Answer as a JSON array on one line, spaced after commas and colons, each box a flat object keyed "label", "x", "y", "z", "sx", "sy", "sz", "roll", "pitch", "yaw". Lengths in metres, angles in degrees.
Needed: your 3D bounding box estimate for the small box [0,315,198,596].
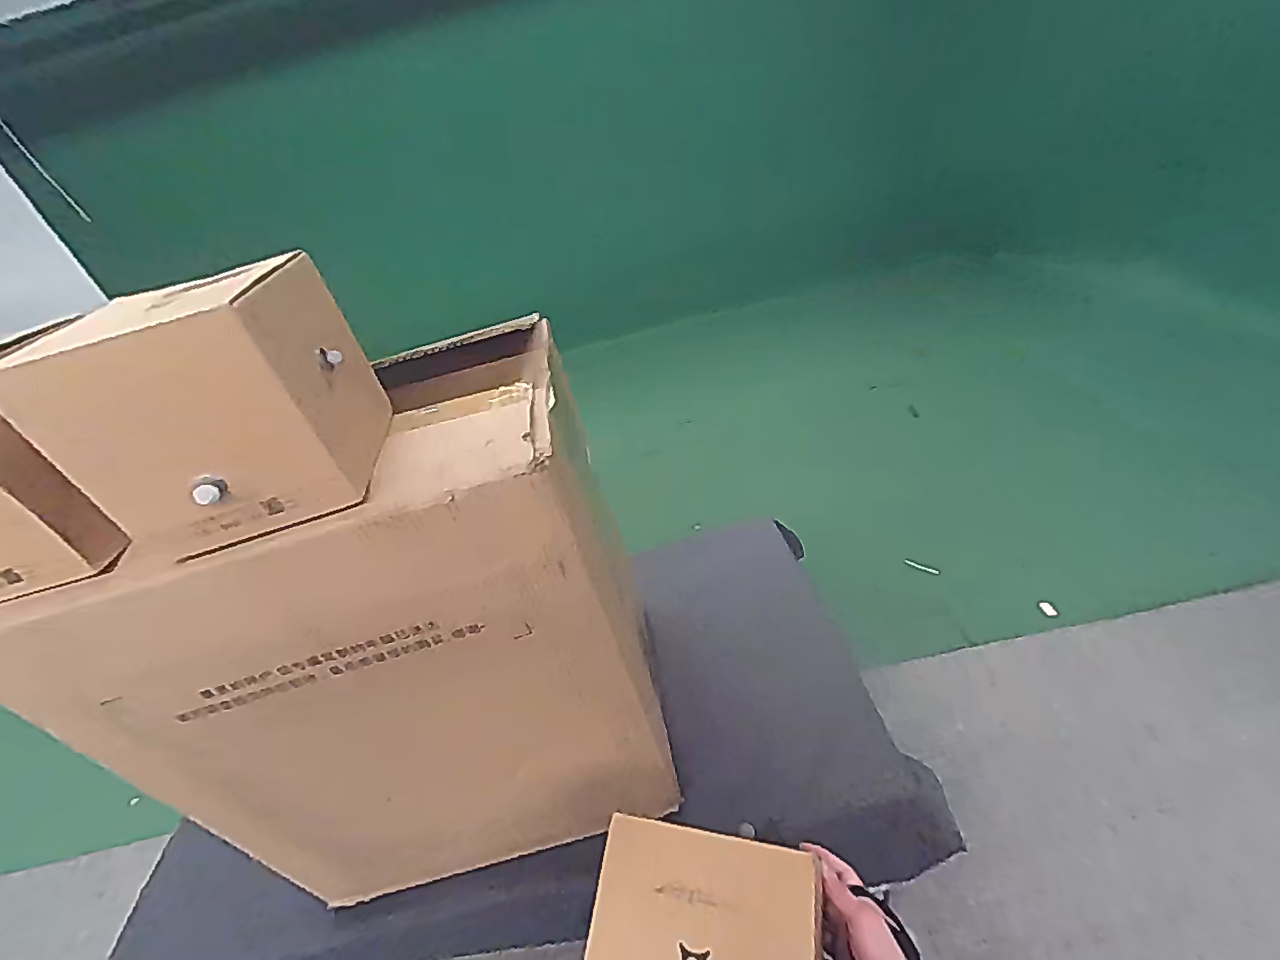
[{"label": "small box", "x": -0.543, "y": -0.013, "z": 0.463, "sx": 0.168, "sy": 0.176, "sz": 0.179, "roll": -15, "pitch": 35, "yaw": 2}]
